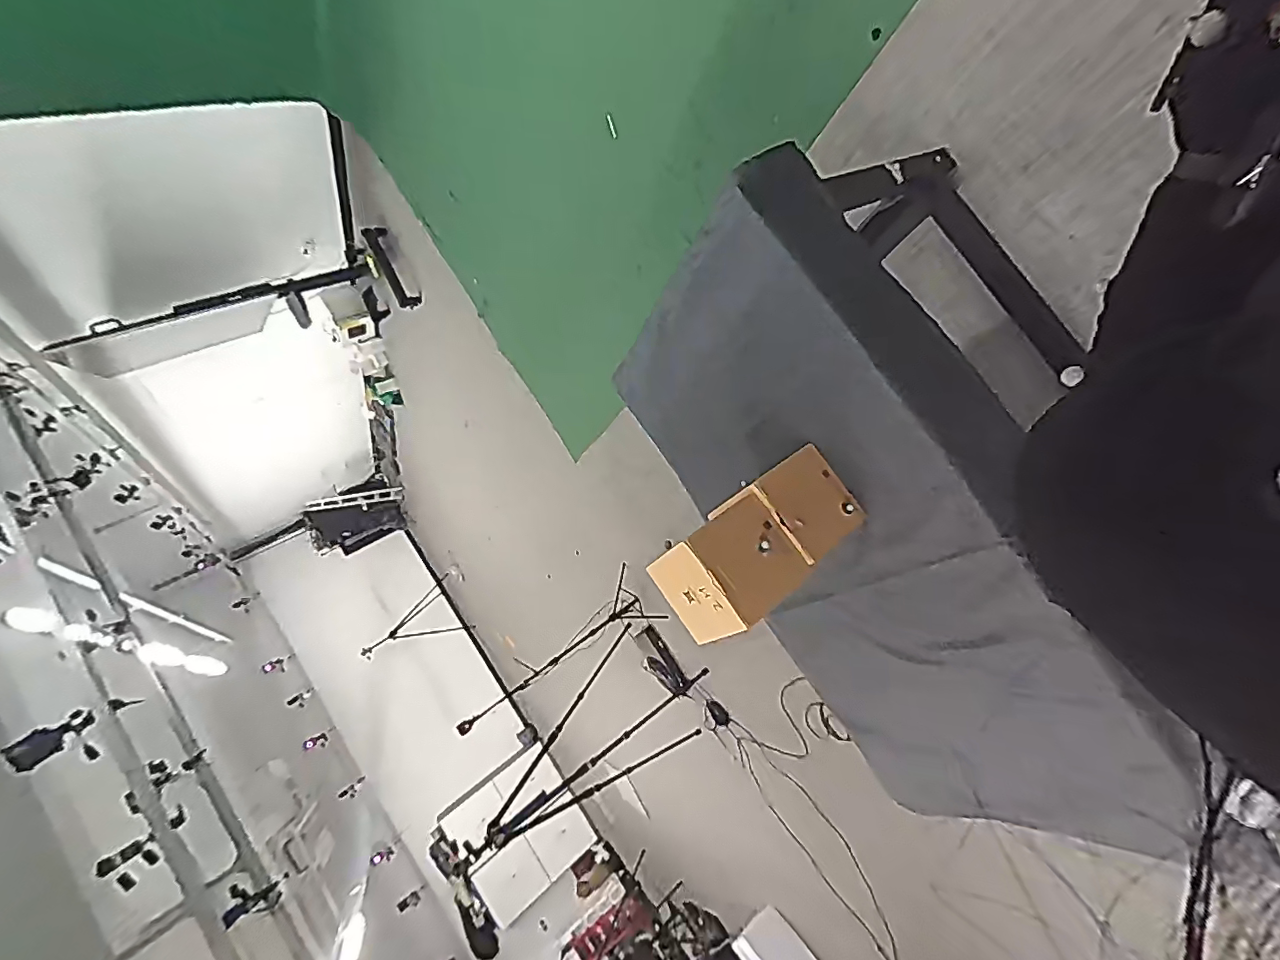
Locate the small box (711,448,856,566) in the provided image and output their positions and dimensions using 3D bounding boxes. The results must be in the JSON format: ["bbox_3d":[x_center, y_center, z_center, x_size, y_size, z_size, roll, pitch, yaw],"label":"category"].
[{"bbox_3d":[0.271,0.065,1.006,0.168,0.176,0.179,56,150,8],"label":"small box"}]

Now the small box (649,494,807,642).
[{"bbox_3d":[0.150,0.152,0.934,0.168,0.176,0.179,54,148,9],"label":"small box"}]
